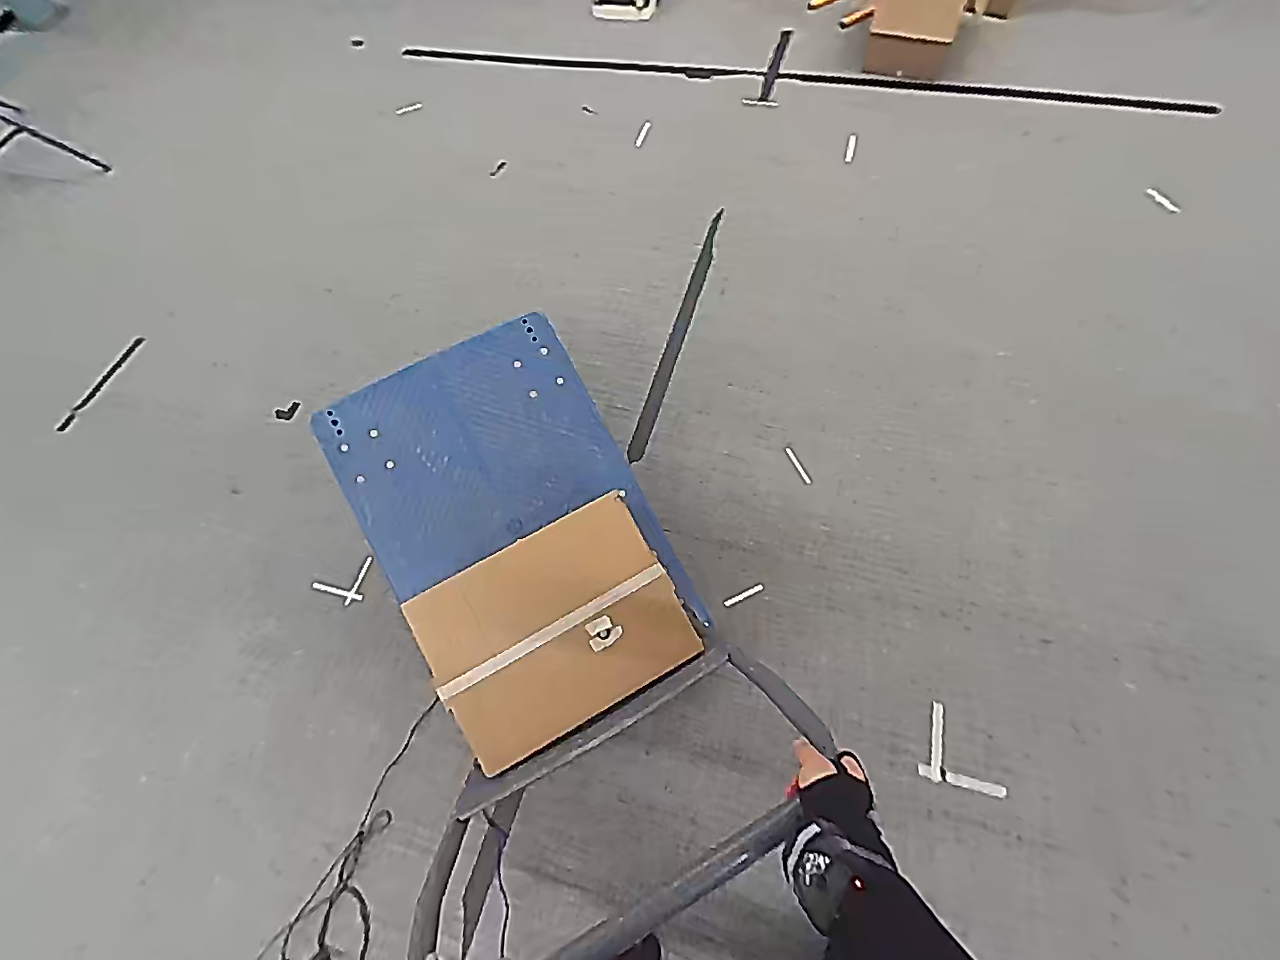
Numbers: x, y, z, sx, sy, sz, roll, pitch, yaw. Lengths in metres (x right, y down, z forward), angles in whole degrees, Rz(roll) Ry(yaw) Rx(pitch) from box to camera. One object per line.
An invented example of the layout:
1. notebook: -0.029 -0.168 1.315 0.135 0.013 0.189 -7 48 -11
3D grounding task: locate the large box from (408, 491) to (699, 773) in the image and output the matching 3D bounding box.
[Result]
1. large box: -0.157 0.269 1.054 0.408 0.320 0.320 -29 86 -10
